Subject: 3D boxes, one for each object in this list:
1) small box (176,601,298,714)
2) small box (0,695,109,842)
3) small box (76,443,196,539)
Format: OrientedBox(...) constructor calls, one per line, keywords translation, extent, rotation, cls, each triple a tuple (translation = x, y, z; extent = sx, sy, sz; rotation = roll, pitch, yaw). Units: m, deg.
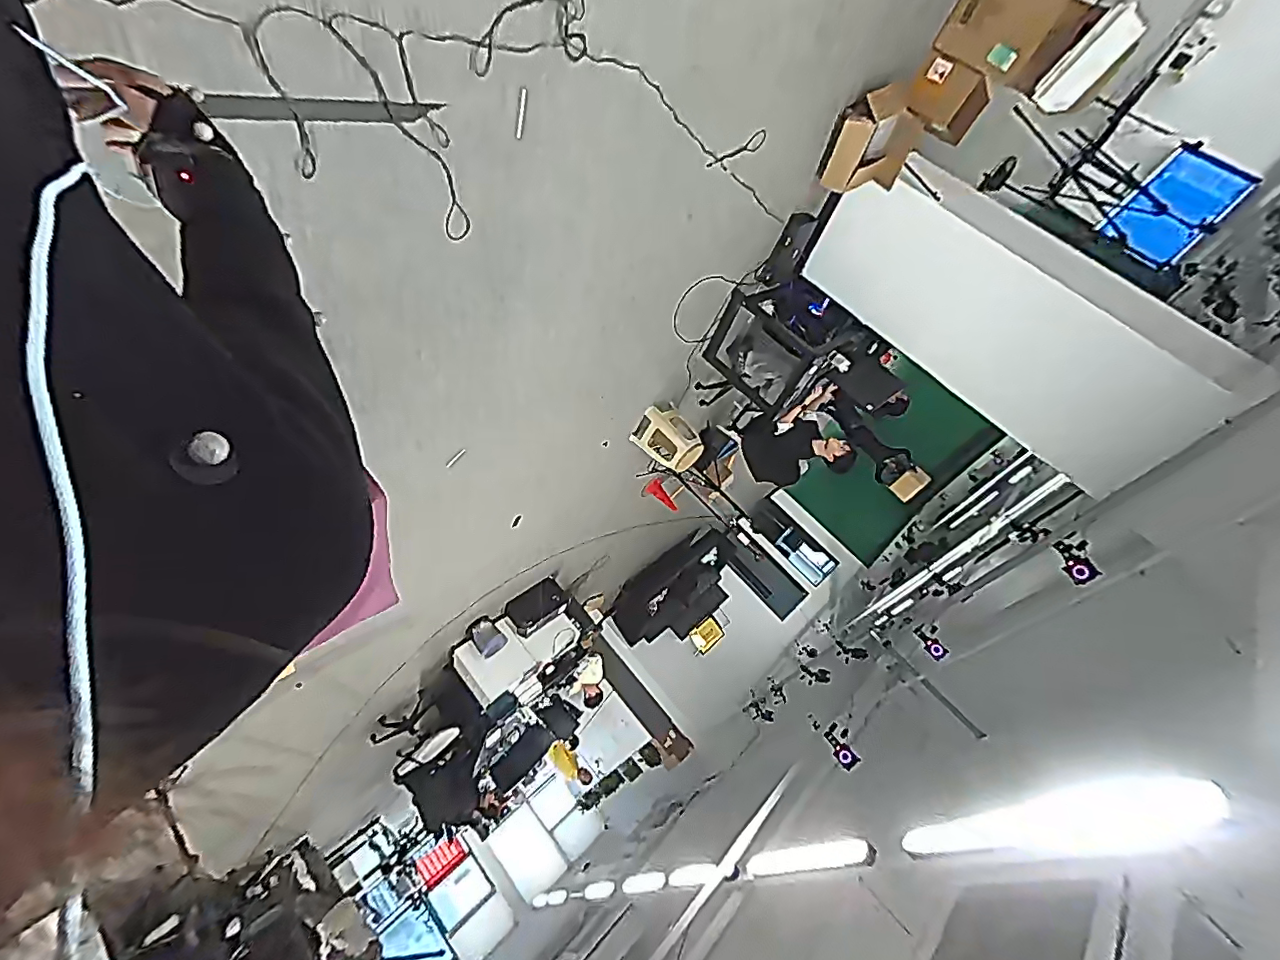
OrientedBox(translation=(-0.960, 0.417, 1.294), extent=(0.168, 0.176, 0.179), rotation=(-30, 158, -36), cls="small box")
OrientedBox(translation=(-1.222, 0.568, 1.072), extent=(0.179, 0.176, 0.168), rotation=(-29, 157, -40), cls="small box")
OrientedBox(translation=(-1.391, 0.026, 1.497), extent=(0.179, 0.176, 0.168), rotation=(-30, 157, -34), cls="small box")
